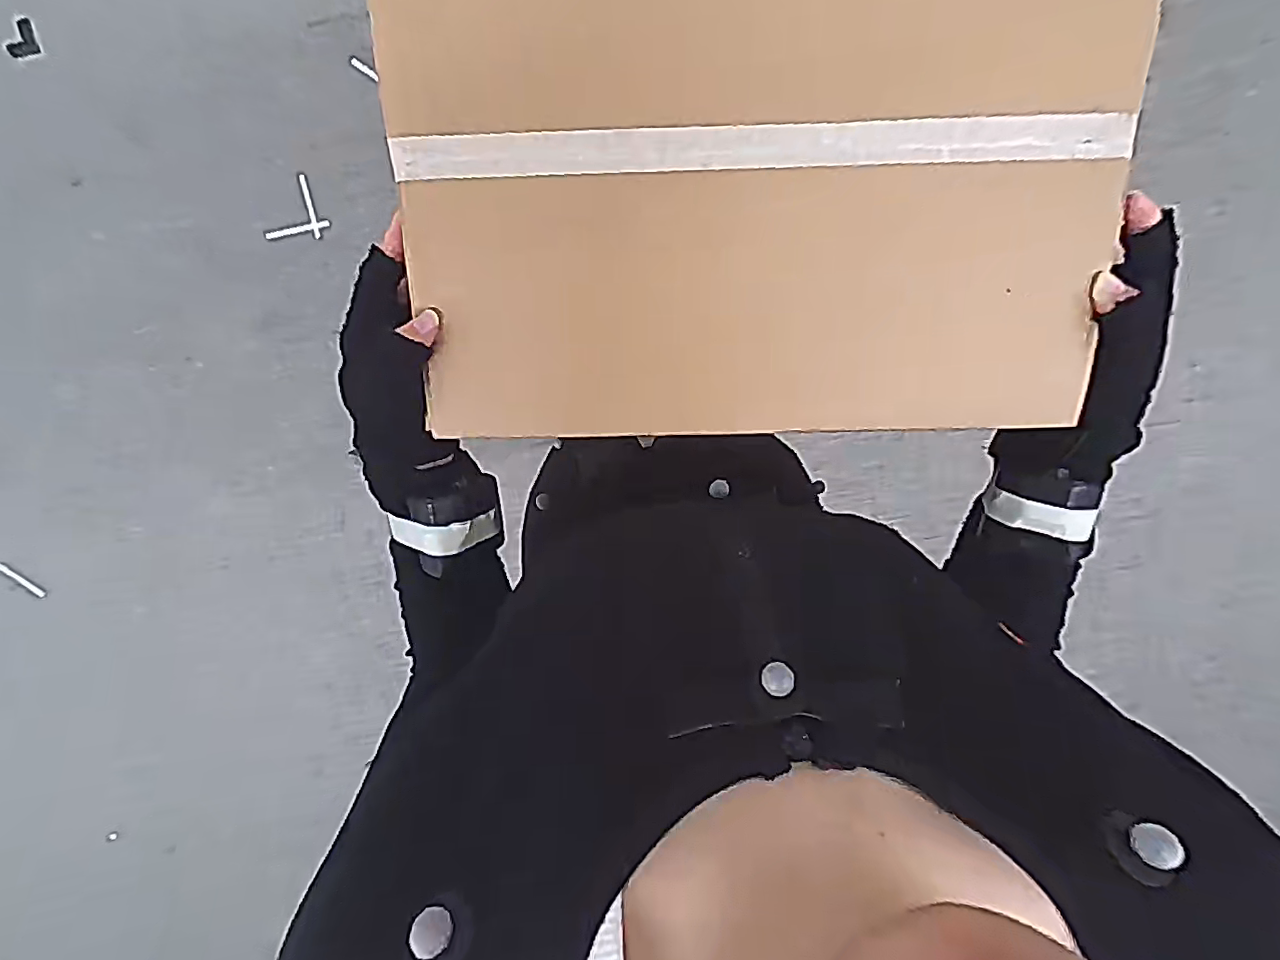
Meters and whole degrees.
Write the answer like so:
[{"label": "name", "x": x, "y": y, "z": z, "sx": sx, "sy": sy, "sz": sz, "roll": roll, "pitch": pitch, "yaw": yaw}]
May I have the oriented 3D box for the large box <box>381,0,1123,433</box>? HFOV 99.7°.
[{"label": "large box", "x": 0.060, "y": -0.225, "z": 0.454, "sx": 0.408, "sy": 0.320, "sz": 0.320, "roll": -2, "pitch": 106, "yaw": 1}]
